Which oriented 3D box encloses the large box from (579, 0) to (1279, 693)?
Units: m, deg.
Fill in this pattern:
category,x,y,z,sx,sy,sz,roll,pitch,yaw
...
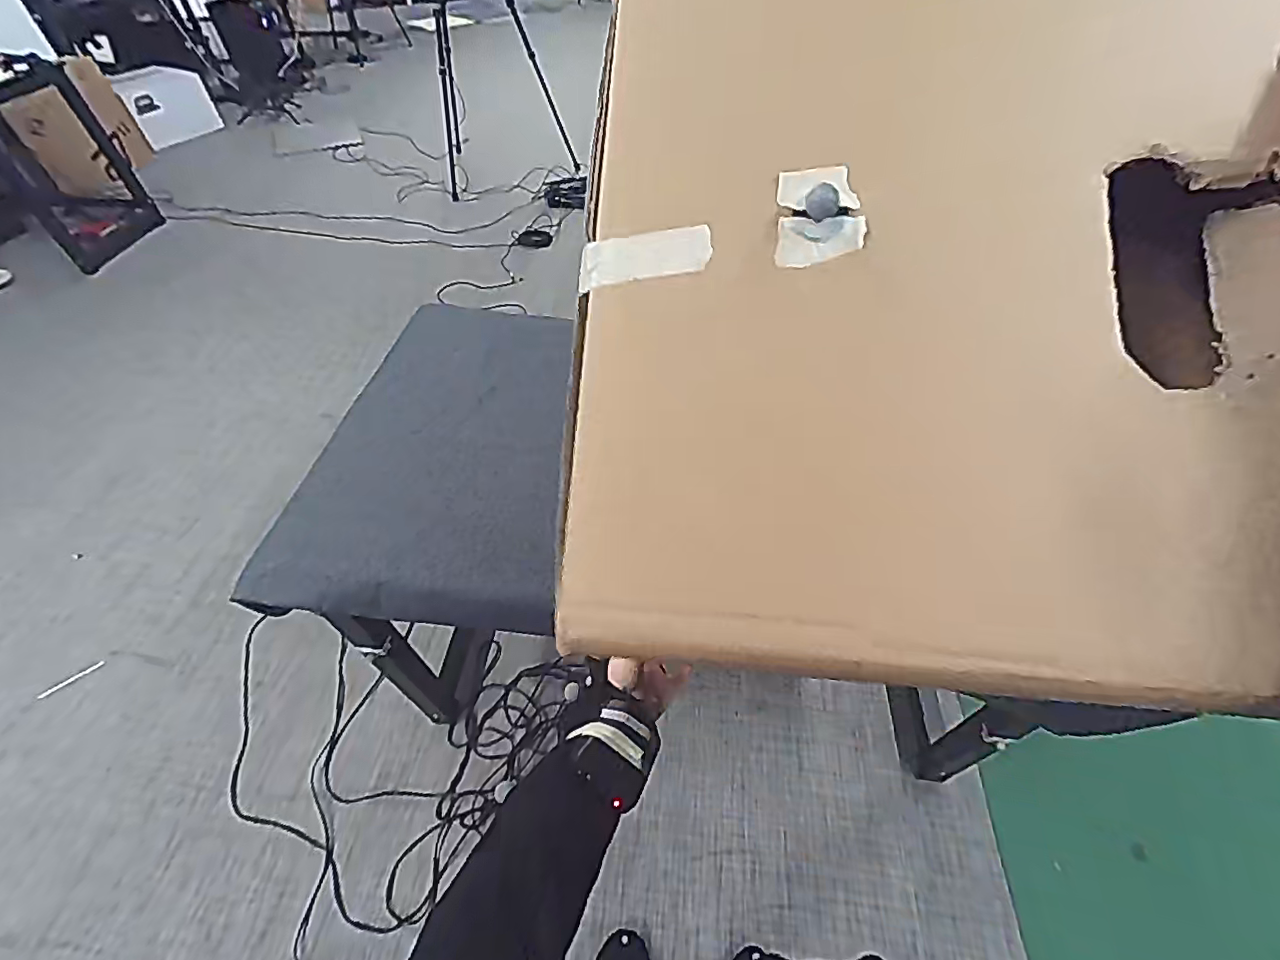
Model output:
category,x,y,z,sx,sy,sz,roll,pitch,yaw
large box,0.147,-0.044,0.412,0.320,0.408,0.320,2,79,5
